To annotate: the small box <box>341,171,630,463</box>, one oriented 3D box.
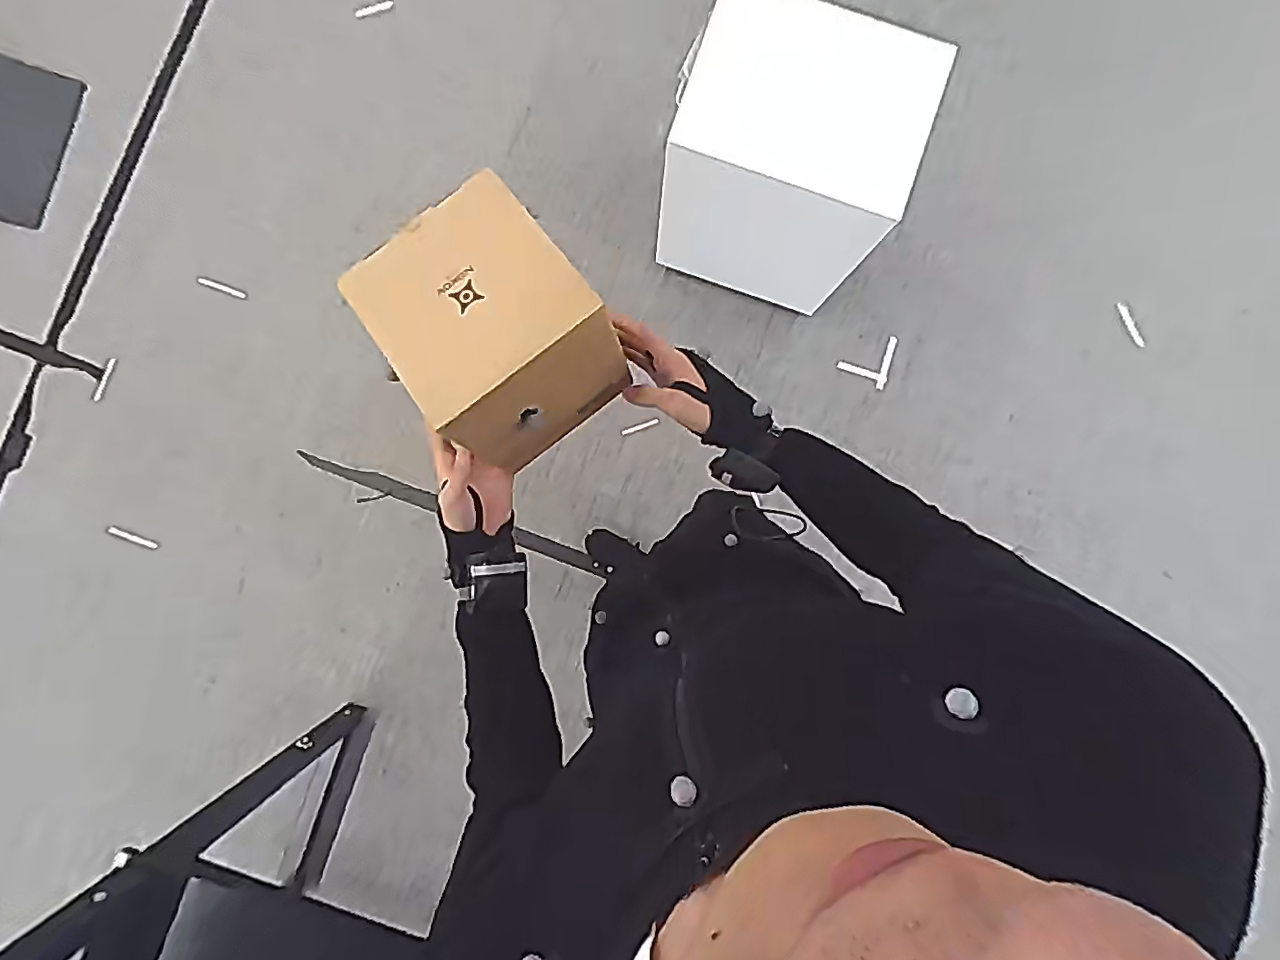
[{"bbox_3d":[-0.128,-0.133,0.514,0.168,0.176,0.179,-37,75,-1],"label":"small box"}]
